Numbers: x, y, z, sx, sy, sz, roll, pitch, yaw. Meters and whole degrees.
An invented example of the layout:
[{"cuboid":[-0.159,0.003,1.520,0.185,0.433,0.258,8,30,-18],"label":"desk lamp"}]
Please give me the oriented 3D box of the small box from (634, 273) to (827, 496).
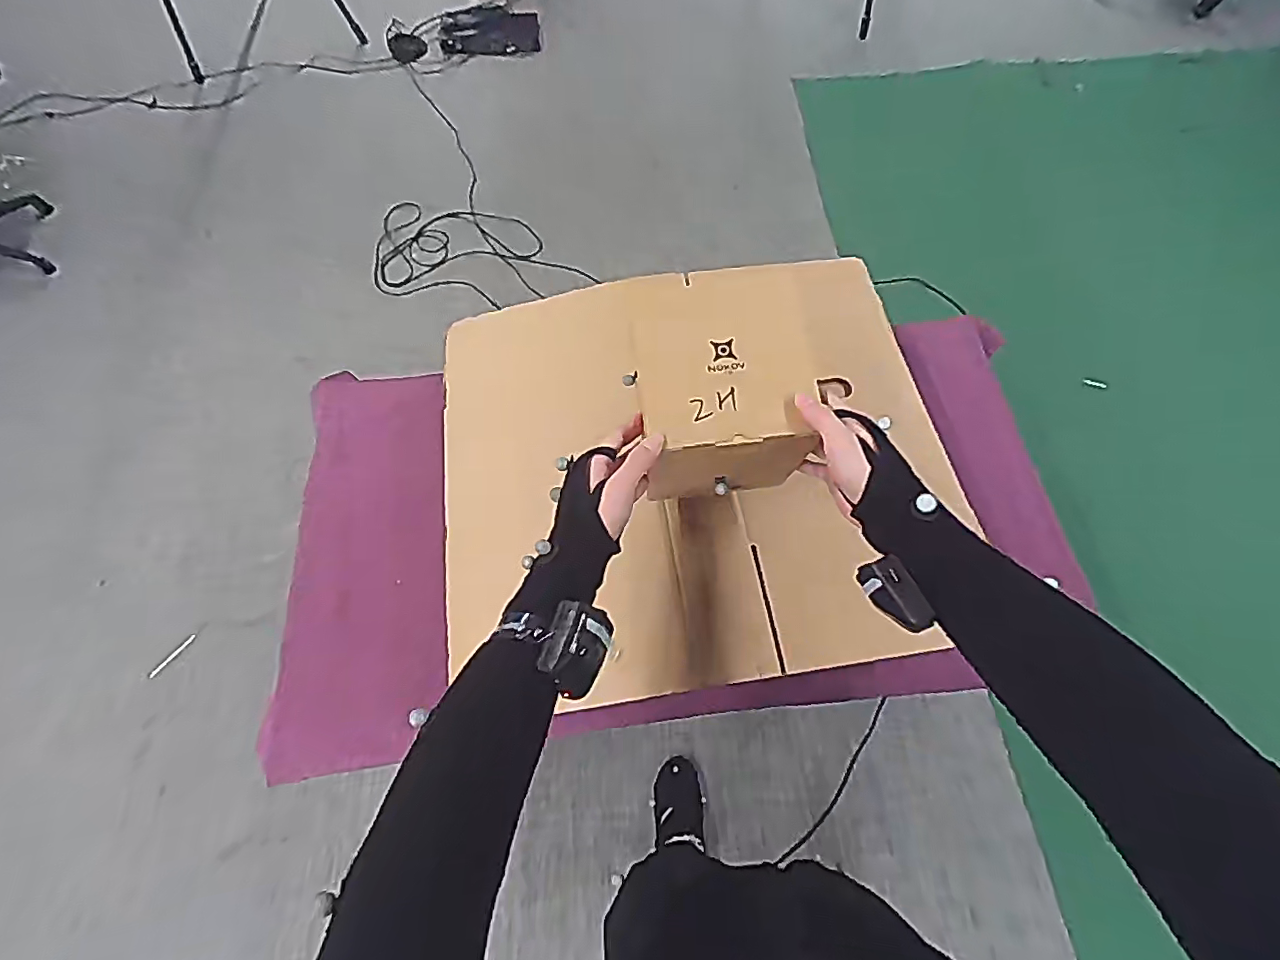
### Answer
[{"cuboid":[0.081,-0.094,0.590,0.168,0.176,0.179,-6,73,-1],"label":"small box"}]
